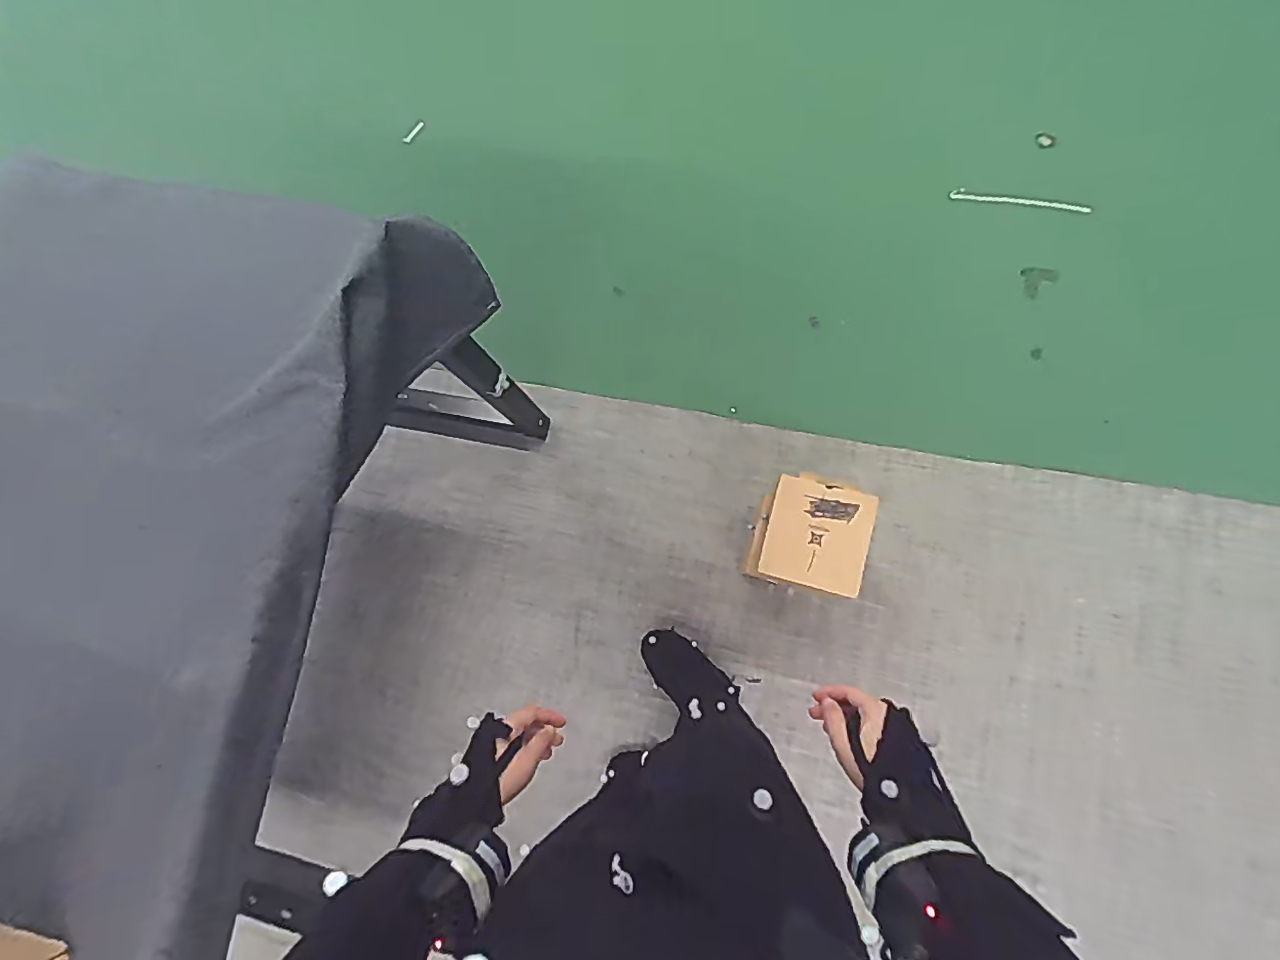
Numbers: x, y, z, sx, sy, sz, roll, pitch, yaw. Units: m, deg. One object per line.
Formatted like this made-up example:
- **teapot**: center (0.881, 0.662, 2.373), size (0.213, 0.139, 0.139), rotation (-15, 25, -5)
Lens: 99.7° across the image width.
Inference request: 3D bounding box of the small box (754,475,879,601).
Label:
- **small box**: center (0.306, 0.109, 0.972), size (0.168, 0.176, 0.179), rotation (15, 81, 11)

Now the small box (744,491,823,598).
- **small box**: center (0.319, 0.138, 1.133), size (0.168, 0.176, 0.179), rotation (15, 82, 10)
